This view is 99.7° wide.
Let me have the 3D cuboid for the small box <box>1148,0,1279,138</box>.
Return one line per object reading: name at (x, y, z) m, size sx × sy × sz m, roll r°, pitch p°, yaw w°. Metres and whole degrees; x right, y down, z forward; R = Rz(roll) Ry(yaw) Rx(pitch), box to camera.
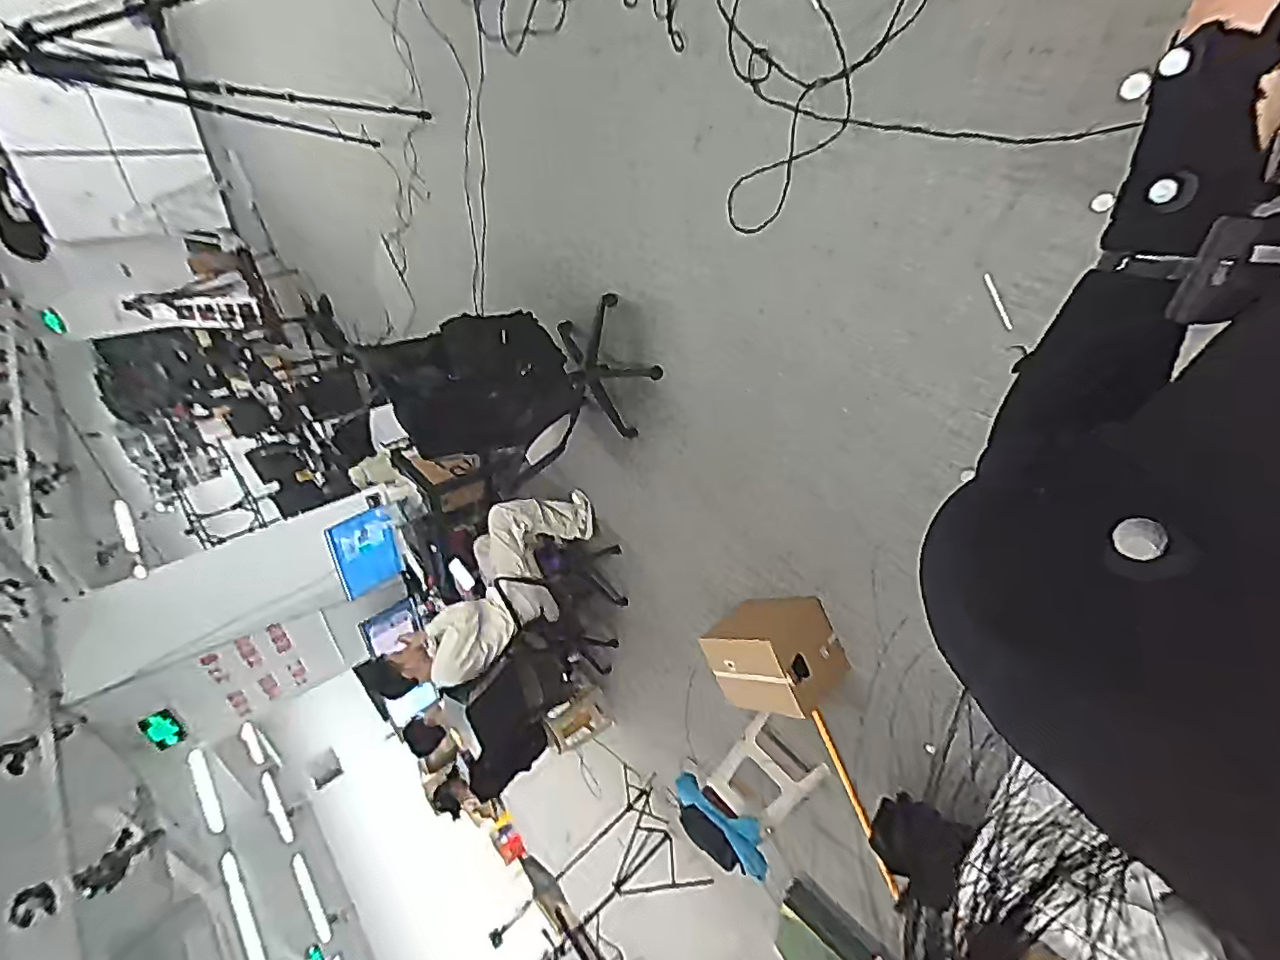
small box at (0.852, -0.564, 0.730) m, size 0.179 × 0.176 × 0.168 m, roll 32°, pitch 135°, yaw 36°
